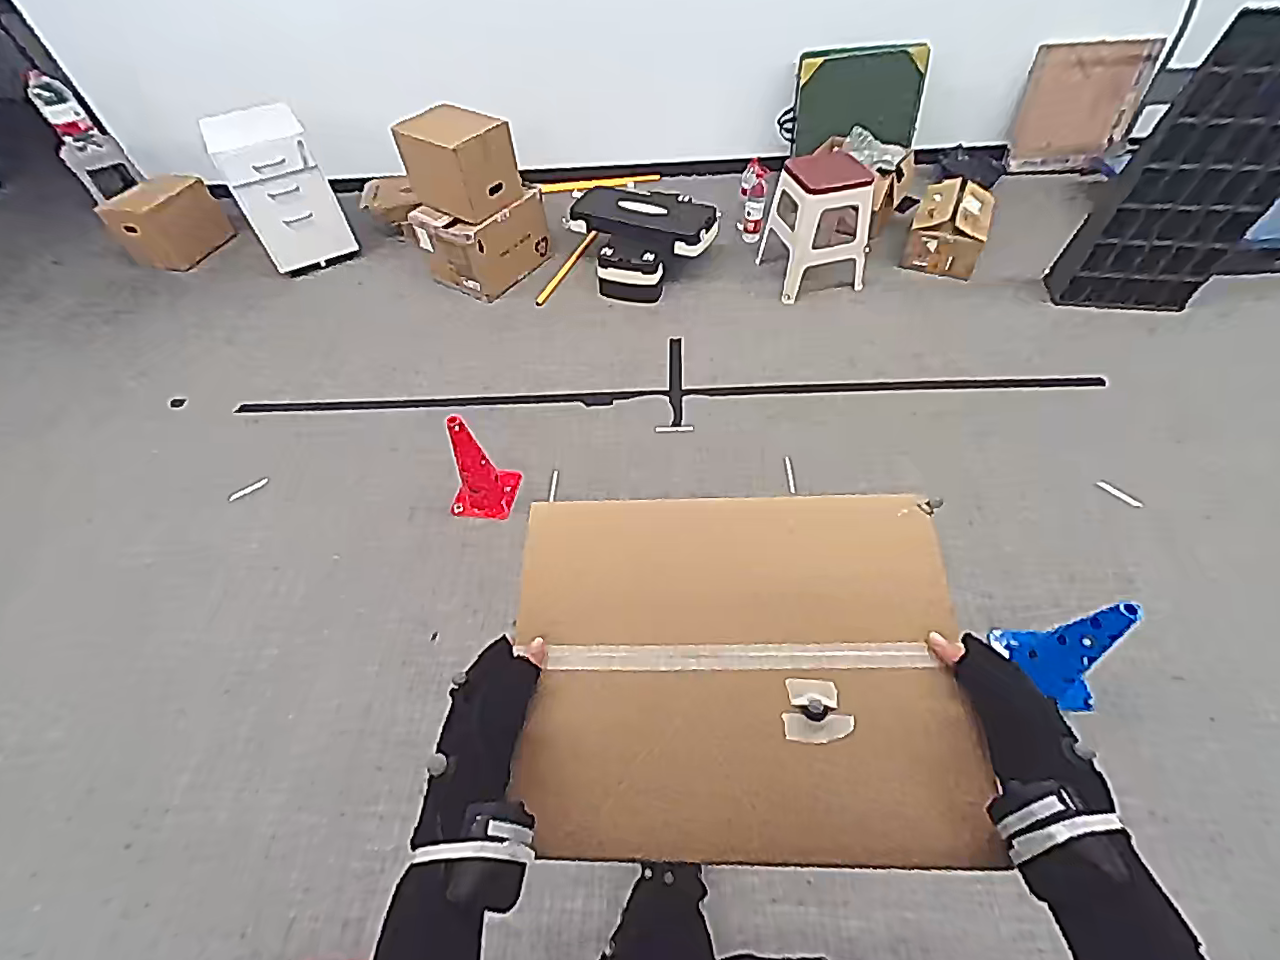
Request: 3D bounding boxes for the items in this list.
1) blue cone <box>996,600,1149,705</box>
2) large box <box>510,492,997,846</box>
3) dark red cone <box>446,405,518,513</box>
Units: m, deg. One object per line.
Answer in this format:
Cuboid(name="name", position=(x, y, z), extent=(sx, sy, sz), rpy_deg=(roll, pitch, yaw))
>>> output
Cuboid(name="blue cone", position=(1.027, 0.378, 1.262), extent=(0.192, 0.380, 0.193), rpy_deg=(2, 52, 4))
Cuboid(name="large box", position=(0.095, 0.222, 0.636), extent=(0.408, 0.320, 0.320), rpy_deg=(-1, 64, 4))
Cuboid(name="dark red cone", position=(-0.526, -0.077, 1.677), extent=(0.201, 0.394, 0.202), rpy_deg=(4, 52, 6))
